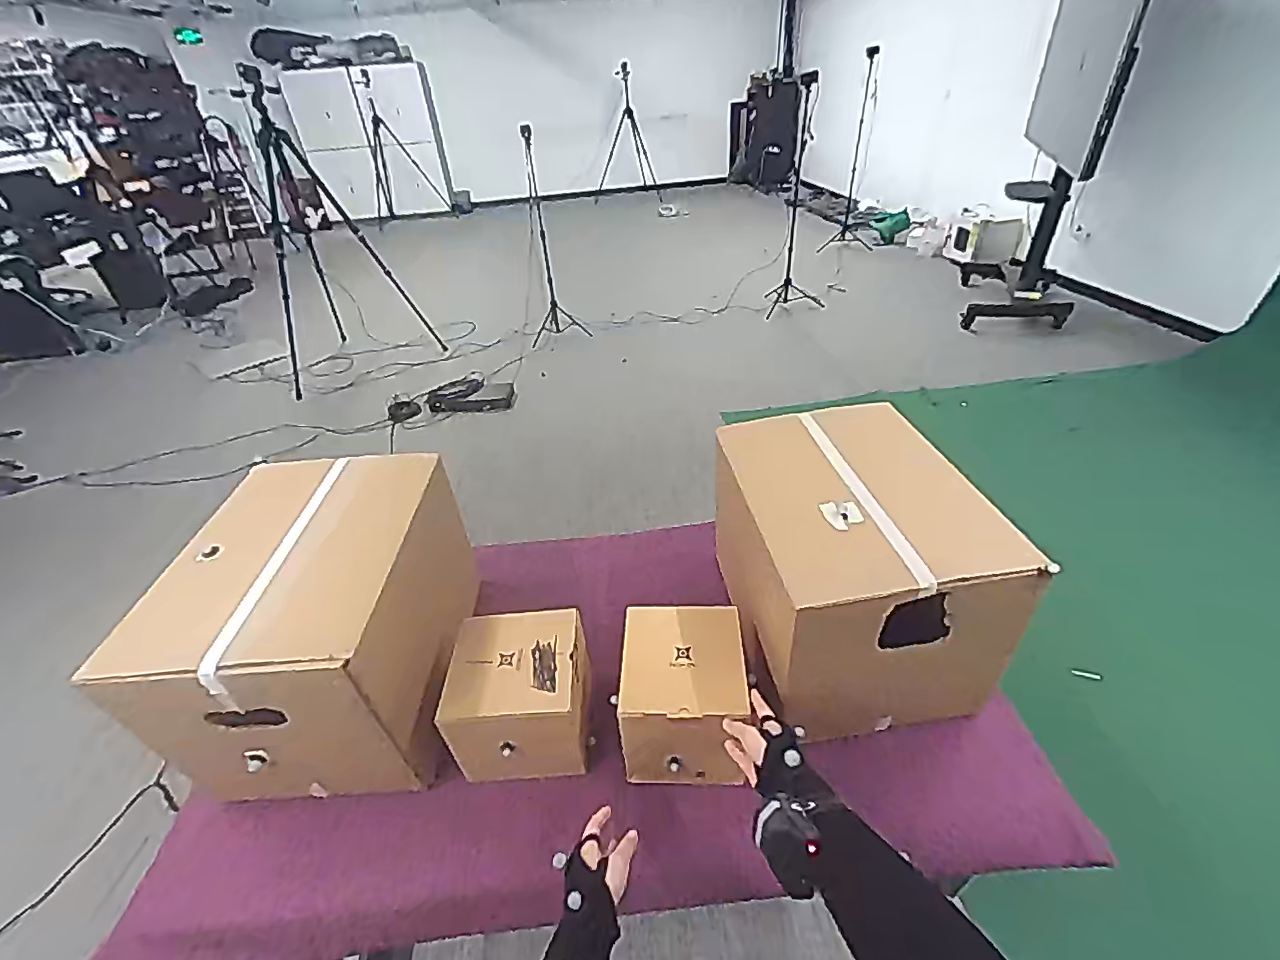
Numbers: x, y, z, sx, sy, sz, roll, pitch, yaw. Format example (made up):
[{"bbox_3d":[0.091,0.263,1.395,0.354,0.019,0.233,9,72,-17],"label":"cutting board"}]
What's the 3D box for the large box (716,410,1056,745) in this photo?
[{"bbox_3d":[0.318,0.134,0.861,0.320,0.320,0.408,-9,37,-2],"label":"large box"}]
